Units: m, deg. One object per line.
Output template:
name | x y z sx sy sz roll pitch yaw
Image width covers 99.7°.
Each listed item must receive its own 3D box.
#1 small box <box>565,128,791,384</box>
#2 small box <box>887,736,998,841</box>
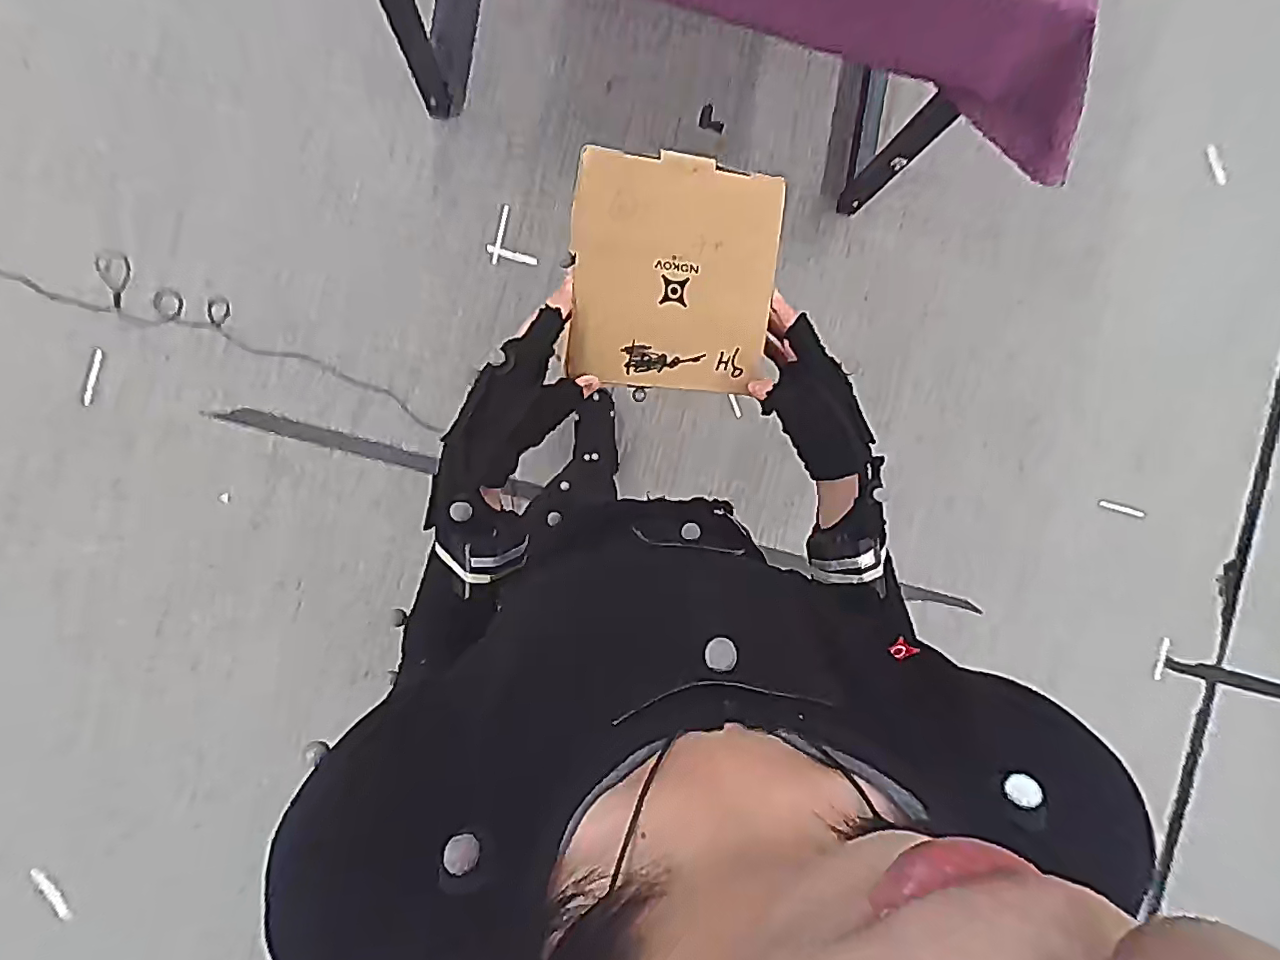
small box | 0.019 -0.189 0.508 0.168 0.176 0.179 3 103 -11
small box | 0.847 0.862 1.529 0.179 0.176 0.168 30 87 -5
